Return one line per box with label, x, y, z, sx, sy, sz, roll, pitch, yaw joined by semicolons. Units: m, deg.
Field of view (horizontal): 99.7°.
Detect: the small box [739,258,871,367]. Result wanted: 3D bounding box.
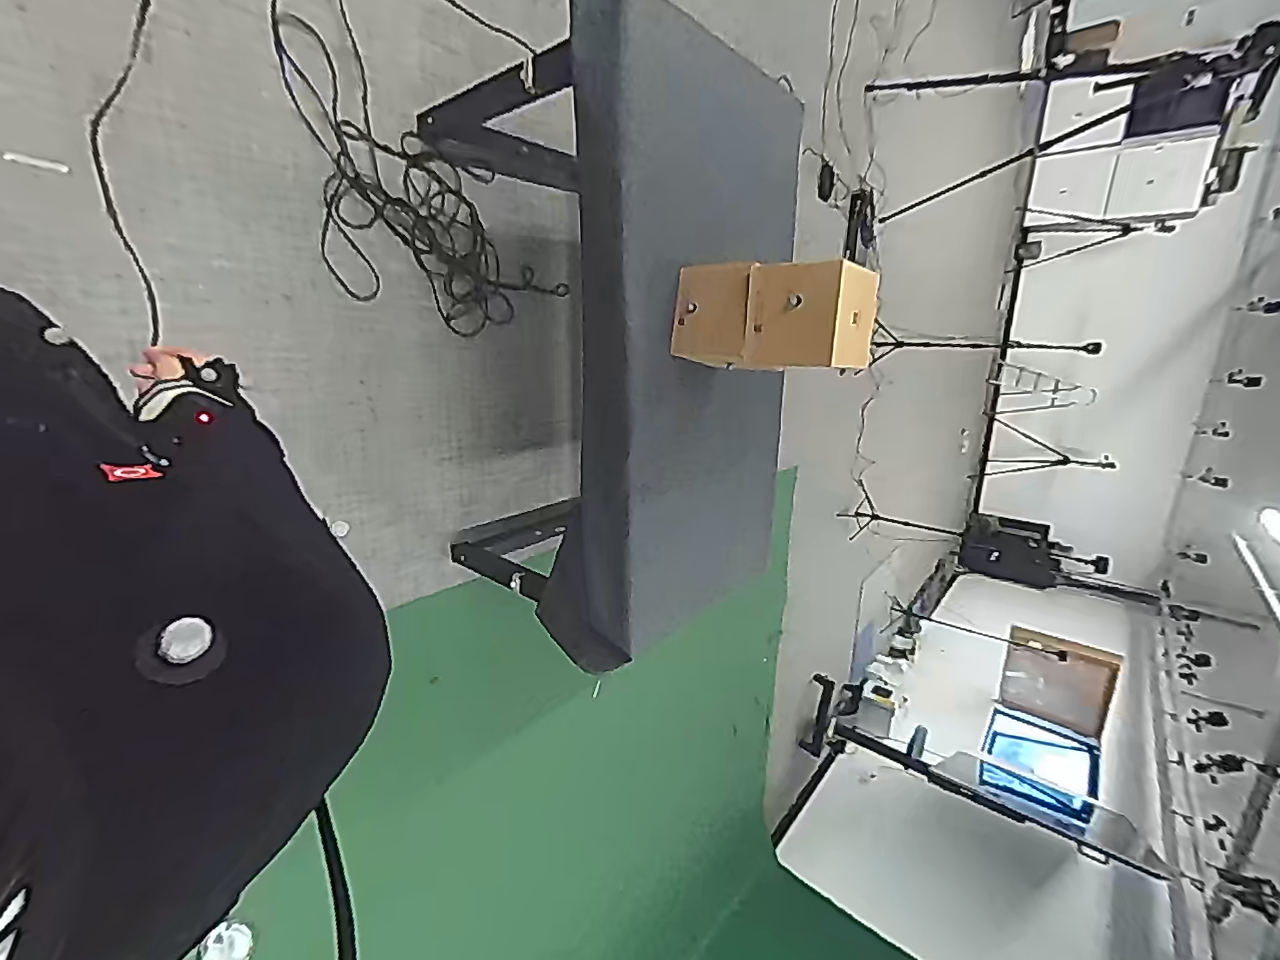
small box;0.291;-0.289;0.965;0.179;0.176;0.168;-13;110;-49
